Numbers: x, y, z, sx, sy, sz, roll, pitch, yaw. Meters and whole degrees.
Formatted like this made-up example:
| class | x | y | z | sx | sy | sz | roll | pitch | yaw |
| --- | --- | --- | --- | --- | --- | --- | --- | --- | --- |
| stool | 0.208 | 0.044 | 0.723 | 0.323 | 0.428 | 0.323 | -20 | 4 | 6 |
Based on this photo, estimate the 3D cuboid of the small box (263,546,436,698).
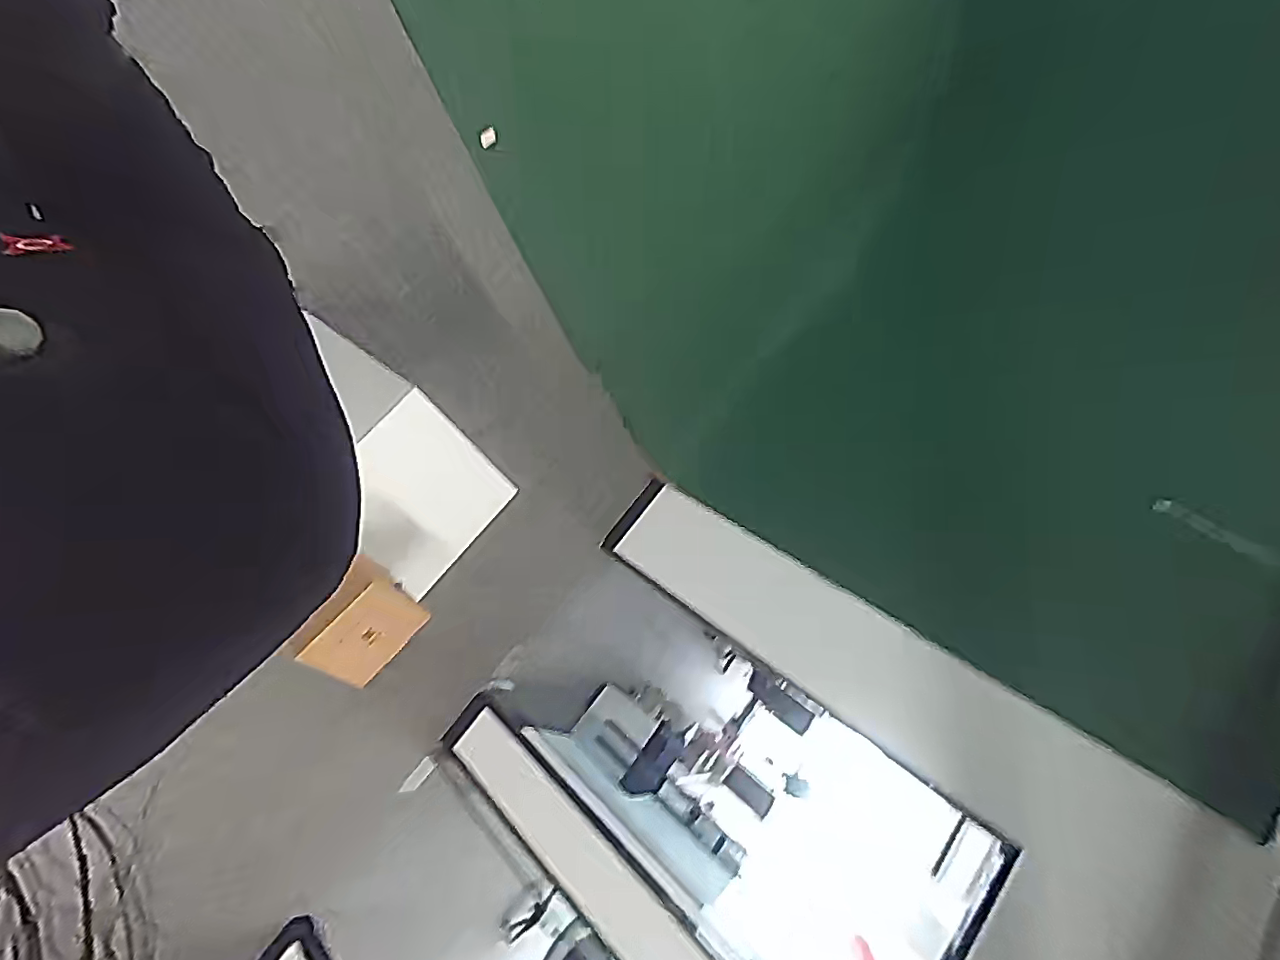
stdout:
| class | x | y | z | sx | sy | sz | roll | pitch | yaw |
| --- | --- | --- | --- | --- | --- | --- | --- | --- | --- |
| small box | -0.505 | 0.245 | 0.950 | 0.168 | 0.176 | 0.179 | -49 | 146 | -19 |
